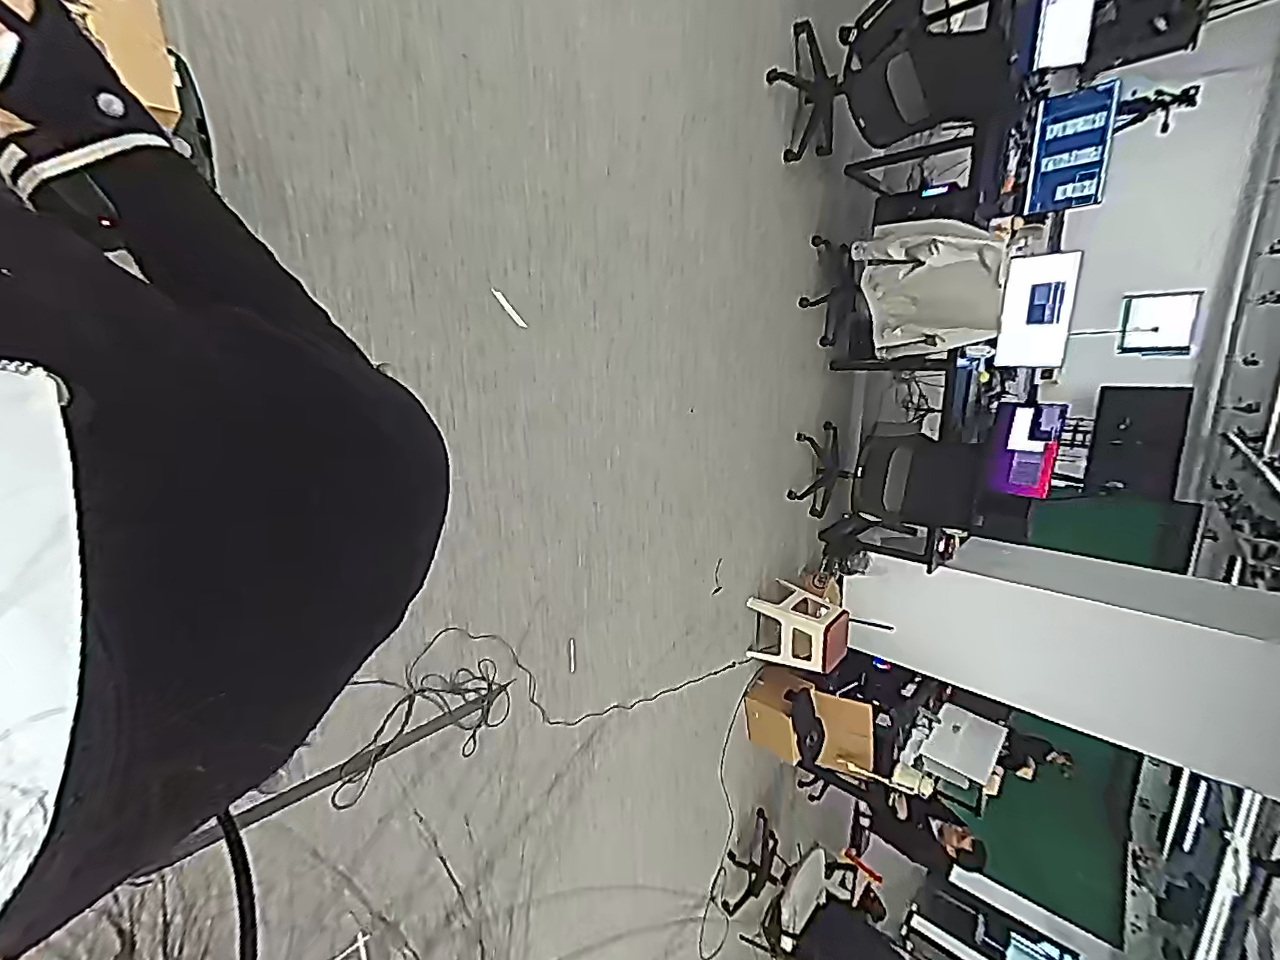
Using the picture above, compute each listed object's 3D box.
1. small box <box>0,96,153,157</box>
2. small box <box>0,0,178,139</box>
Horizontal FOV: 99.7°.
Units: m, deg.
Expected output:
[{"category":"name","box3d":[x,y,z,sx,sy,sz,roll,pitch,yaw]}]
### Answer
[{"category":"small box","box3d":[-0.866,-0.598,0.808,0.168,0.176,0.179,-17,111,-44]},{"category":"small box","box3d":[-0.740,-0.578,0.705,0.168,0.176,0.179,-17,112,-44]}]
